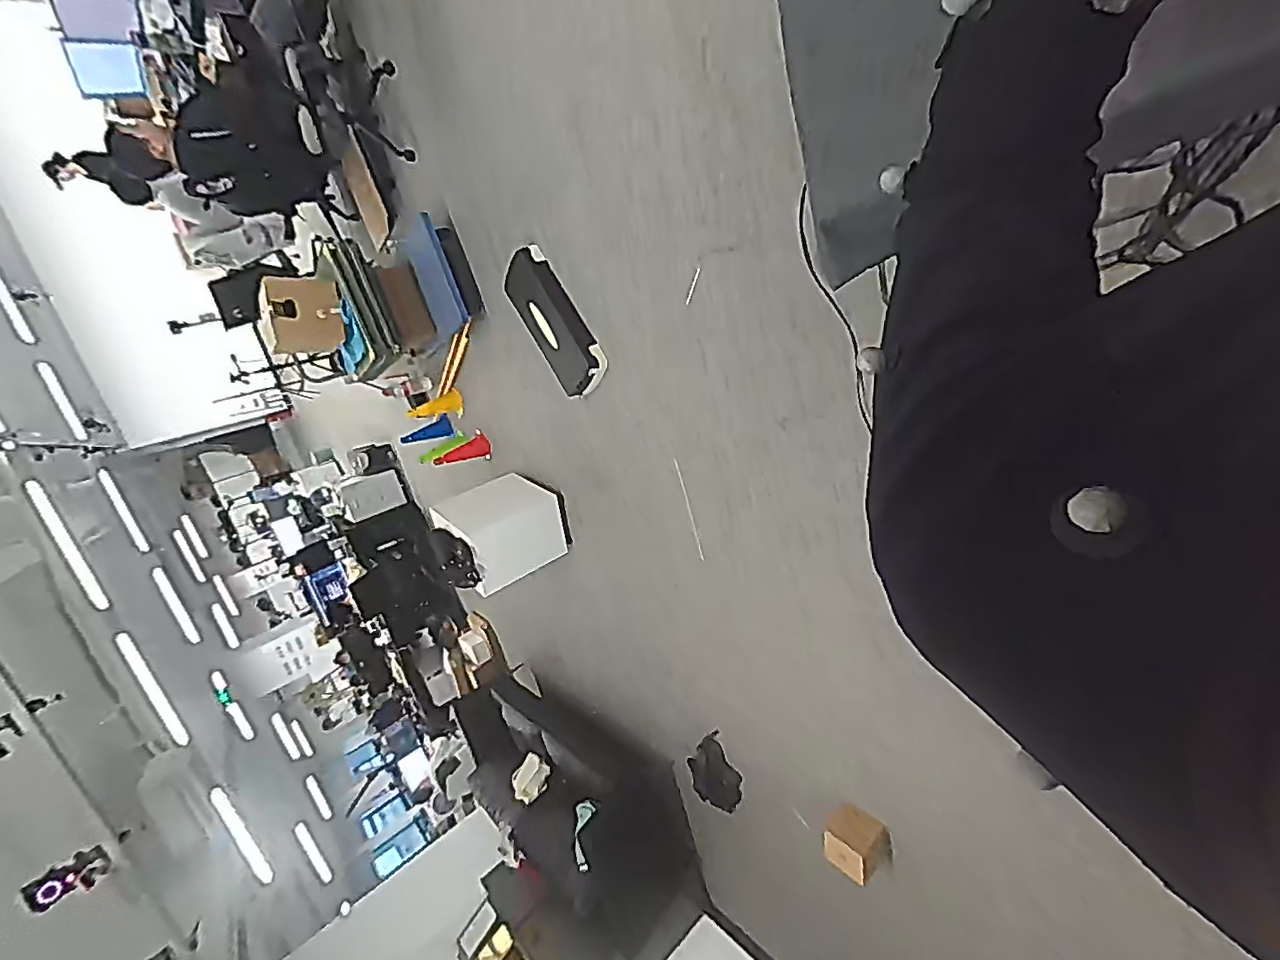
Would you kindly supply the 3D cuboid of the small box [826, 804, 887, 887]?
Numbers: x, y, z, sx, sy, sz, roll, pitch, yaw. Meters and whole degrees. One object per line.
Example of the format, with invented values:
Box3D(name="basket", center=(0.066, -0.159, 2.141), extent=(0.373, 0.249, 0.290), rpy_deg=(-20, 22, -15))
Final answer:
Box3D(name="small box", center=(0.858, 1.436, 2.138), extent=(0.168, 0.176, 0.179), rpy_deg=(15, 123, 50))
